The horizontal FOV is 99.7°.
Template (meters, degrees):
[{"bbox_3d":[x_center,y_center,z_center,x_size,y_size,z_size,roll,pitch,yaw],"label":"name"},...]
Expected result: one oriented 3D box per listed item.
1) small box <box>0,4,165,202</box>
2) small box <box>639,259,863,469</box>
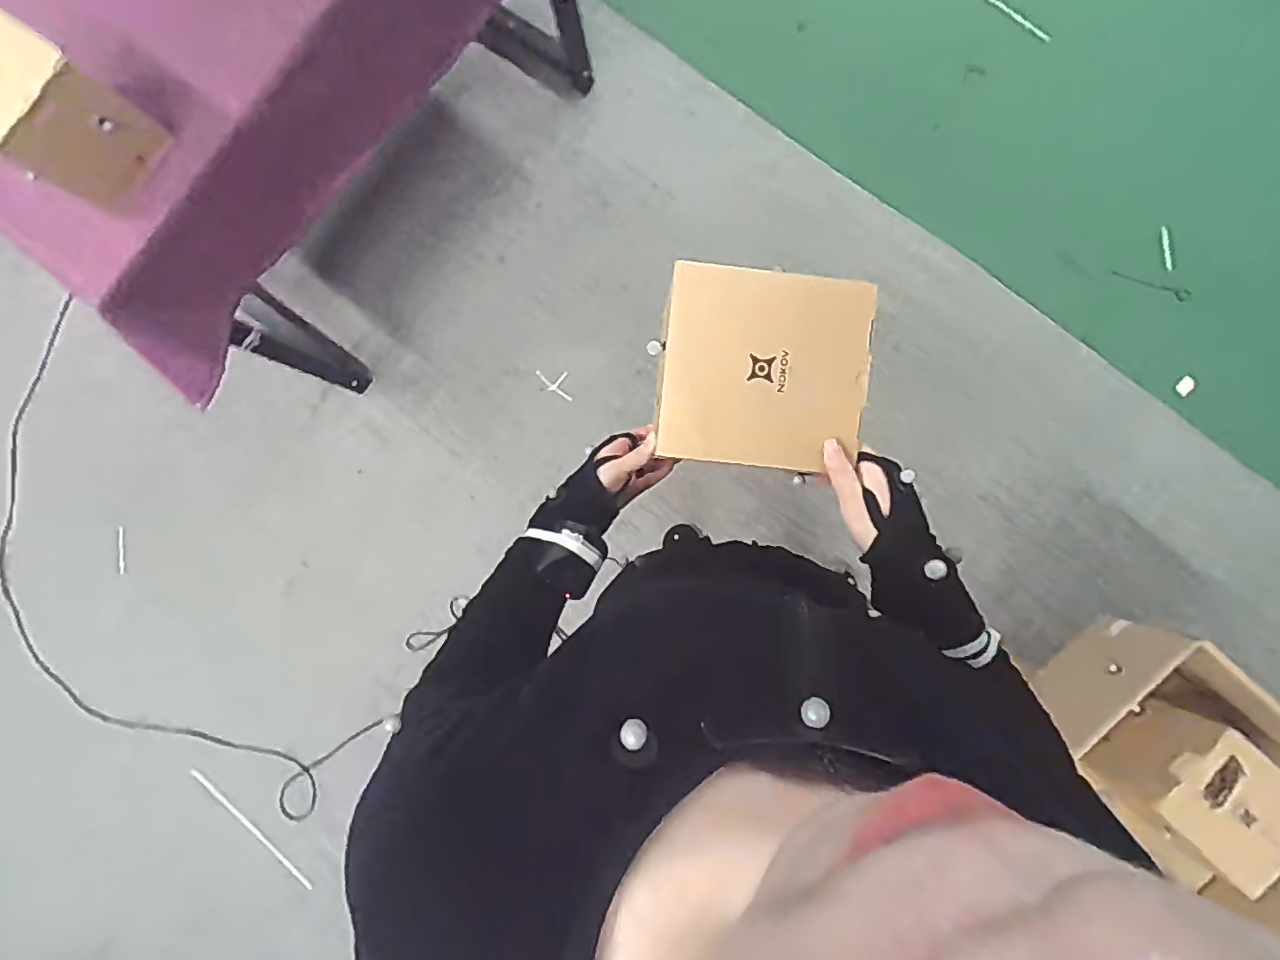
[{"bbox_3d":[-0.888,-0.559,0.814,0.179,0.176,0.168,35,88,7],"label":"small box"},{"bbox_3d":[0.093,-0.101,0.538,0.179,0.176,0.168,5,93,-3],"label":"small box"}]
